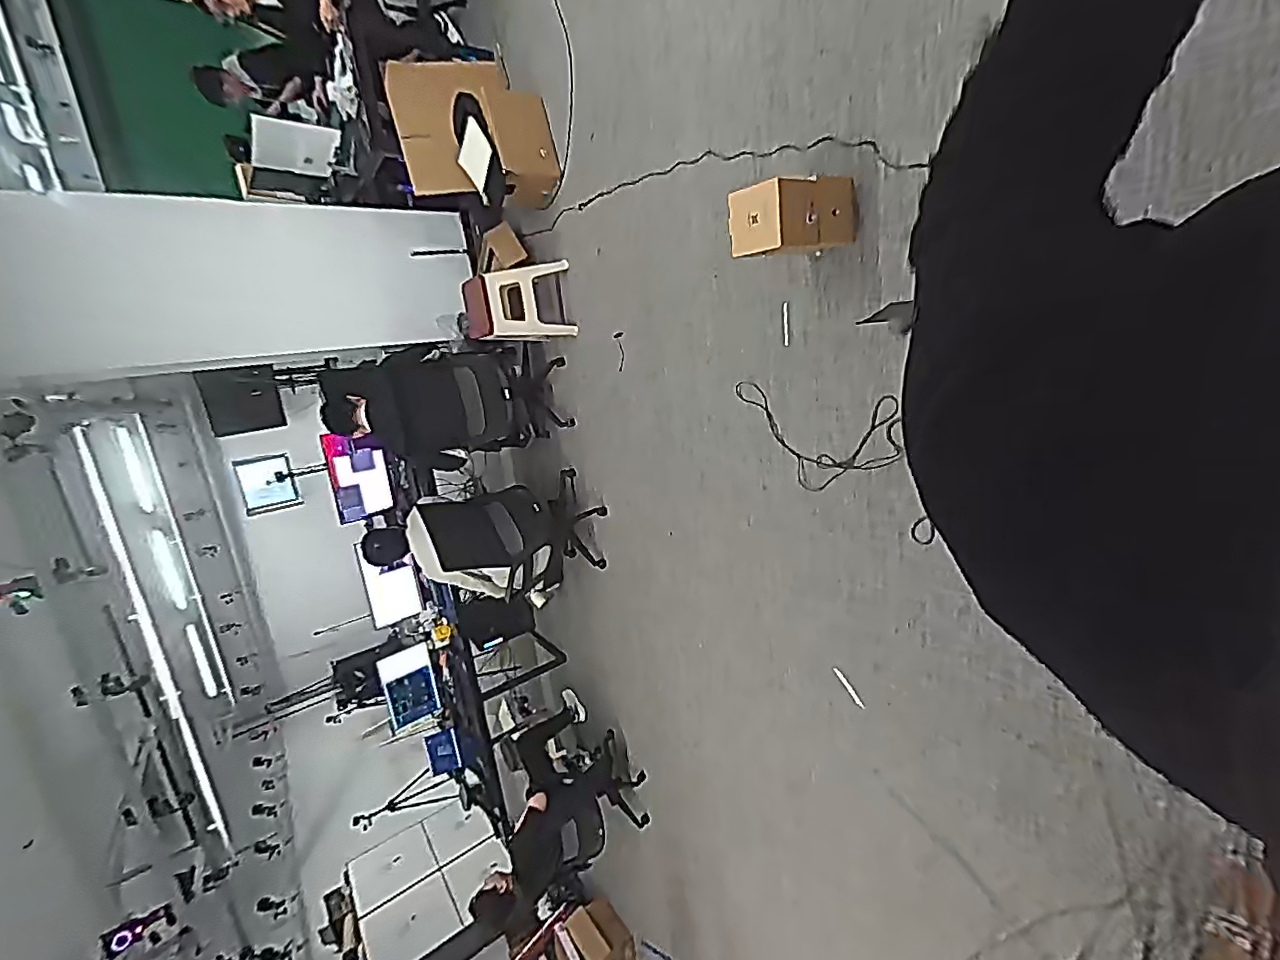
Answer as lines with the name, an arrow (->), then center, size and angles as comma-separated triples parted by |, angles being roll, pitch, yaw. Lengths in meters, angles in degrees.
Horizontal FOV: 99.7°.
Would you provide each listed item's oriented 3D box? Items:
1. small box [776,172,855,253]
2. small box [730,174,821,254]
small box -> 0.502, -0.765, 1.562 | 0.168, 0.176, 0.179 | 11, 114, 53
small box -> 0.371, -0.720, 1.478 | 0.179, 0.176, 0.168 | 14, 117, 51
